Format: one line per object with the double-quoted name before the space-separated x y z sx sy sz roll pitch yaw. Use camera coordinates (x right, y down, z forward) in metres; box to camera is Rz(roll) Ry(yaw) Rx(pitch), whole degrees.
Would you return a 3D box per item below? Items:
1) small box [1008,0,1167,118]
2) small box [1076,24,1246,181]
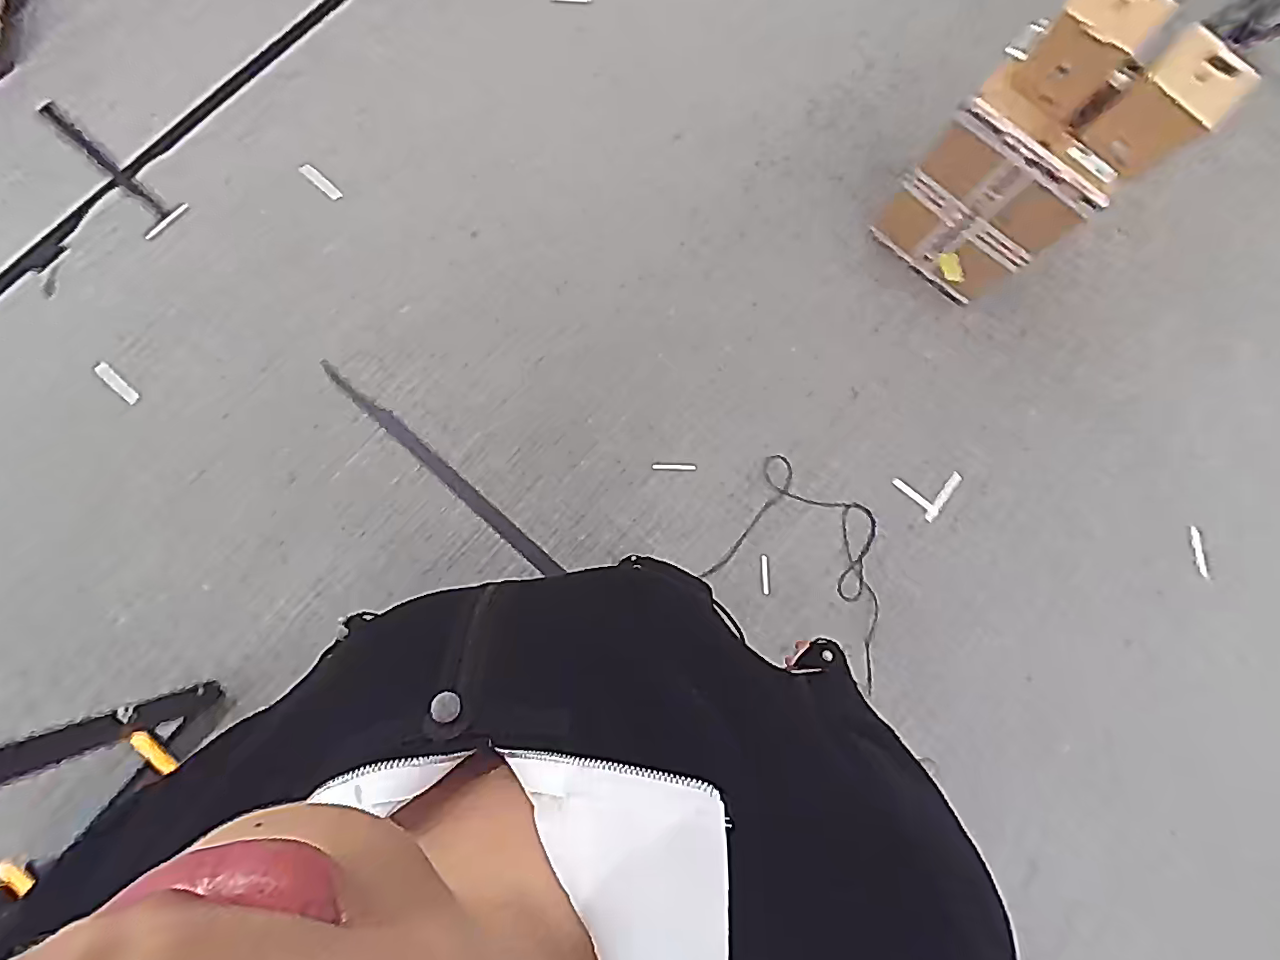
"small box" 0.948 -0.940 1.168 0.168 0.176 0.179 43 84 5
"small box" 1.101 -0.797 1.159 0.168 0.176 0.179 43 83 1
